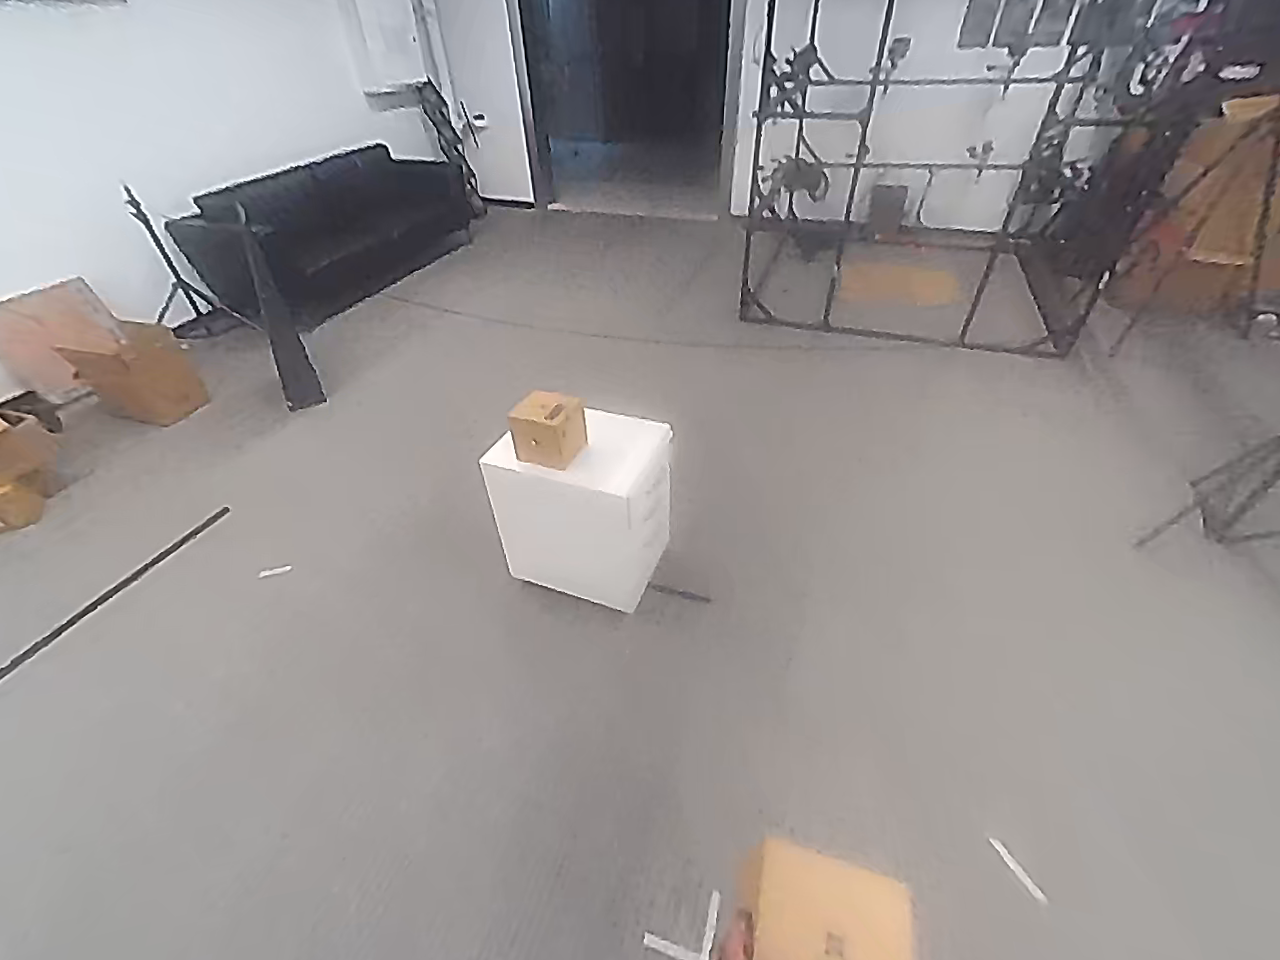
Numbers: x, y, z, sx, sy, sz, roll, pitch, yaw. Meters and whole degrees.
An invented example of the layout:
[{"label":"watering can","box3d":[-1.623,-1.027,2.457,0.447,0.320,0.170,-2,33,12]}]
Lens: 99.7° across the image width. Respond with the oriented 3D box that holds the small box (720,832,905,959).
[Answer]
[{"label":"small box","box3d":[0.191,0.547,0.630,0.168,0.176,0.179,13,49,8]}]
